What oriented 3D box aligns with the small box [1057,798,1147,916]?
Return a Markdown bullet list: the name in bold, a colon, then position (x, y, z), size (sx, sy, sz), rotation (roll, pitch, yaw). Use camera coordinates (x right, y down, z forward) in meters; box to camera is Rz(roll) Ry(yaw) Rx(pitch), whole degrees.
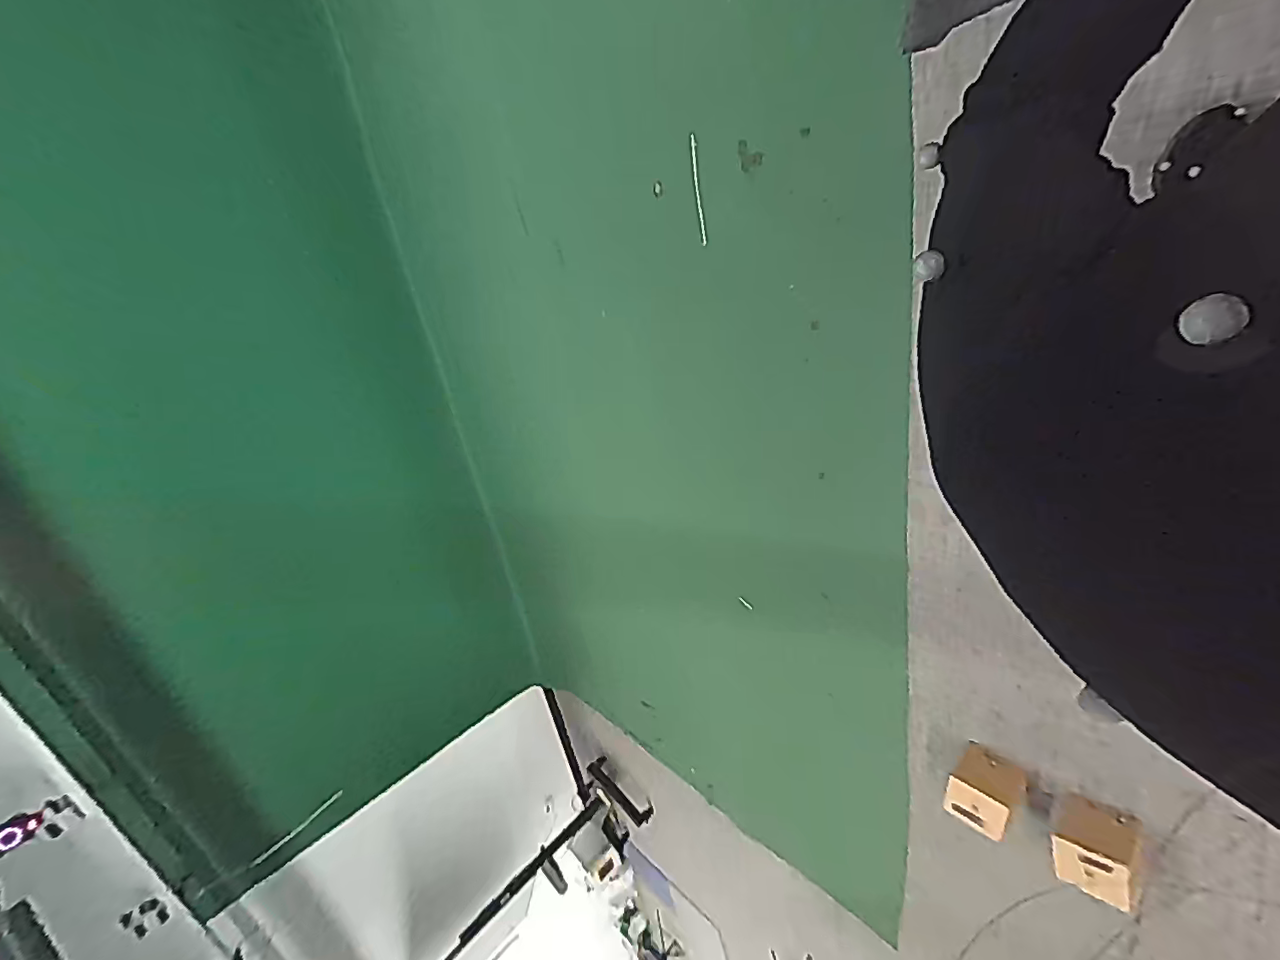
- **small box**: position (1.298, 1.045, 1.519), size (0.168, 0.176, 0.179), rotation (4, 116, 51)
